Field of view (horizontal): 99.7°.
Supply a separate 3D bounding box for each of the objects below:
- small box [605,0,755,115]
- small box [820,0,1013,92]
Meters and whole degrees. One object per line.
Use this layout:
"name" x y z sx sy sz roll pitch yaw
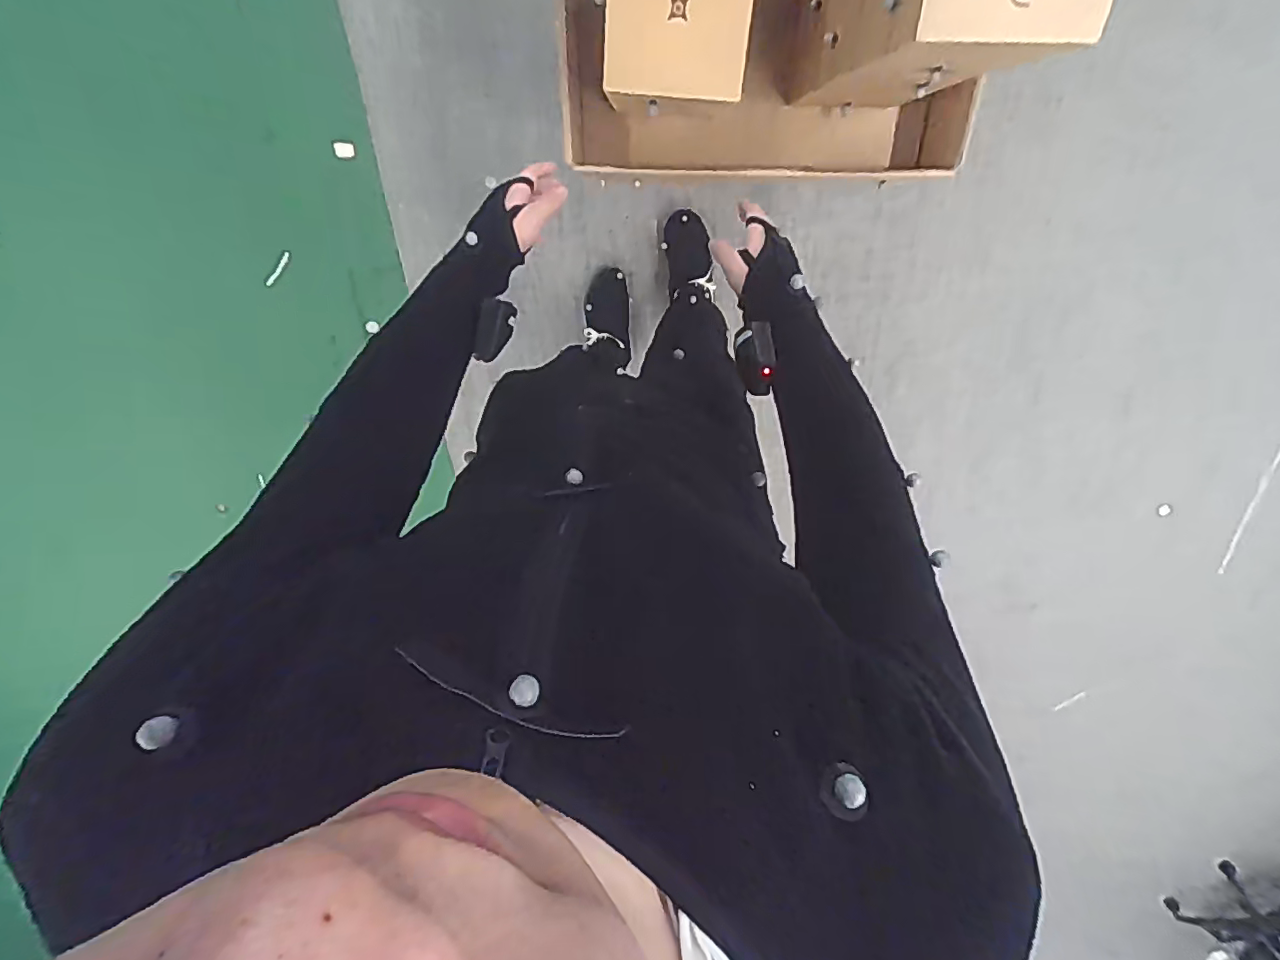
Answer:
"small box" 0.049 -0.568 0.668 0.168 0.176 0.179 4 118 0
"small box" 0.328 -0.583 0.649 0.168 0.176 0.179 1 118 0
